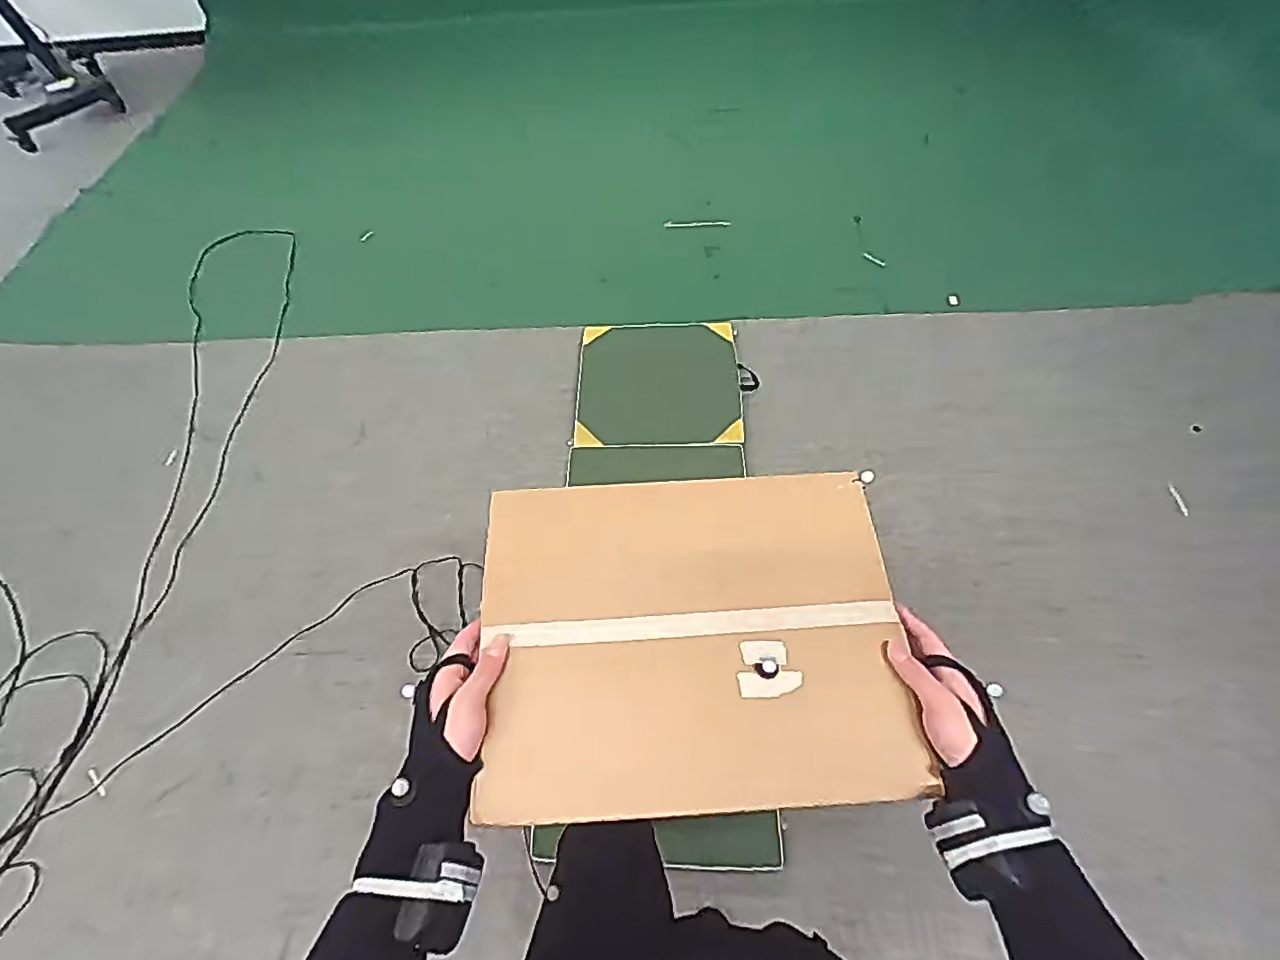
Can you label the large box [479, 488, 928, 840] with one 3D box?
[{"bbox_3d":[0.045,0.227,0.667,0.408,0.320,0.320,-3,63,-2],"label":"large box"}]
